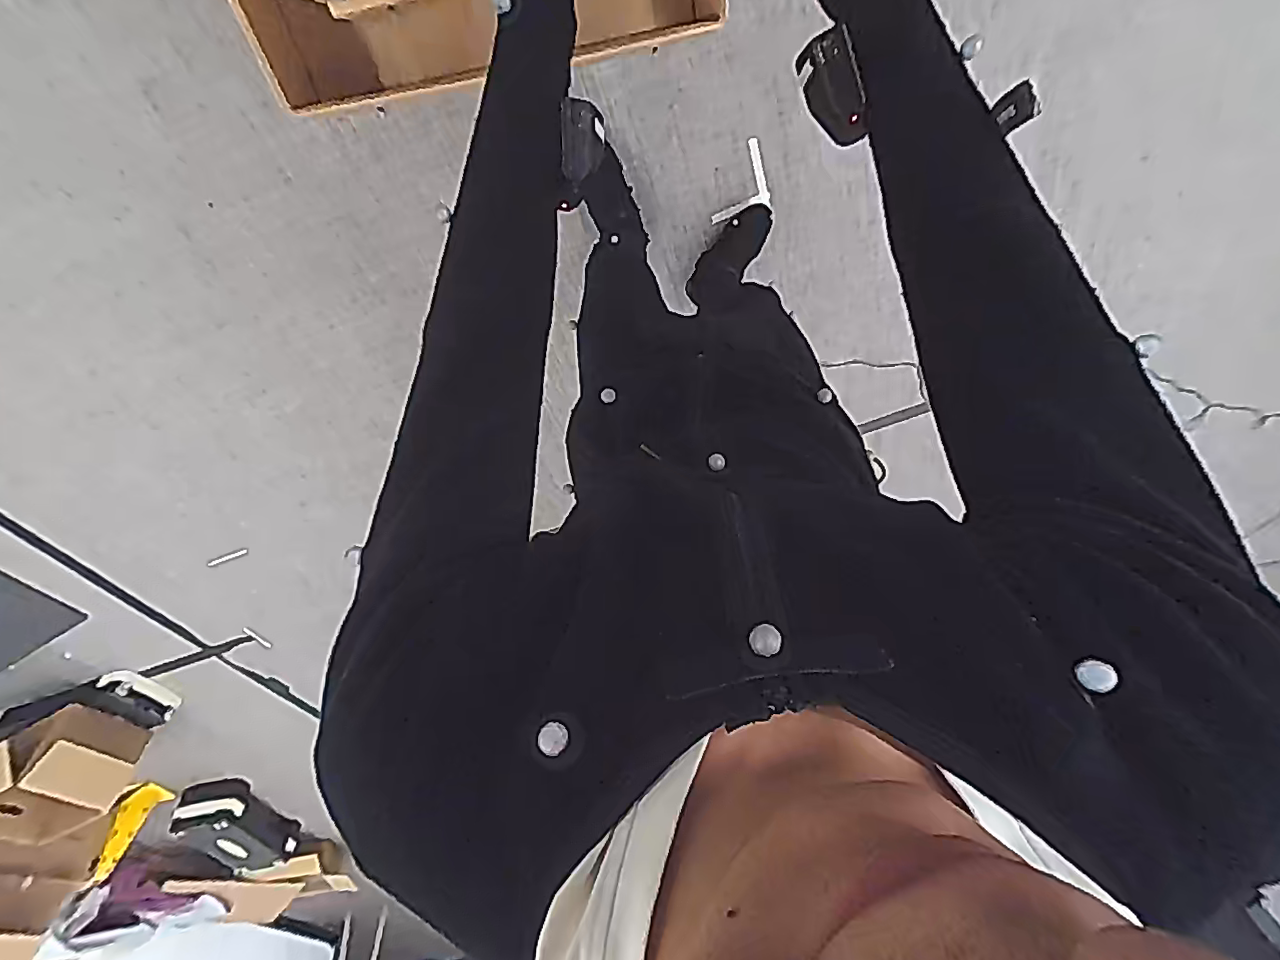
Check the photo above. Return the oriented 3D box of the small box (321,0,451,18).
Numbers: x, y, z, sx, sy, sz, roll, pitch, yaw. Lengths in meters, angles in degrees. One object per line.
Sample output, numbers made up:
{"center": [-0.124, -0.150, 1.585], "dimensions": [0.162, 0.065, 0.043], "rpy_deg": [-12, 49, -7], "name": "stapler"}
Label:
{"center": [-0.325, -0.690, 0.657], "dimensions": [0.168, 0.176, 0.179], "rpy_deg": [-15, 128, -1], "name": "small box"}
